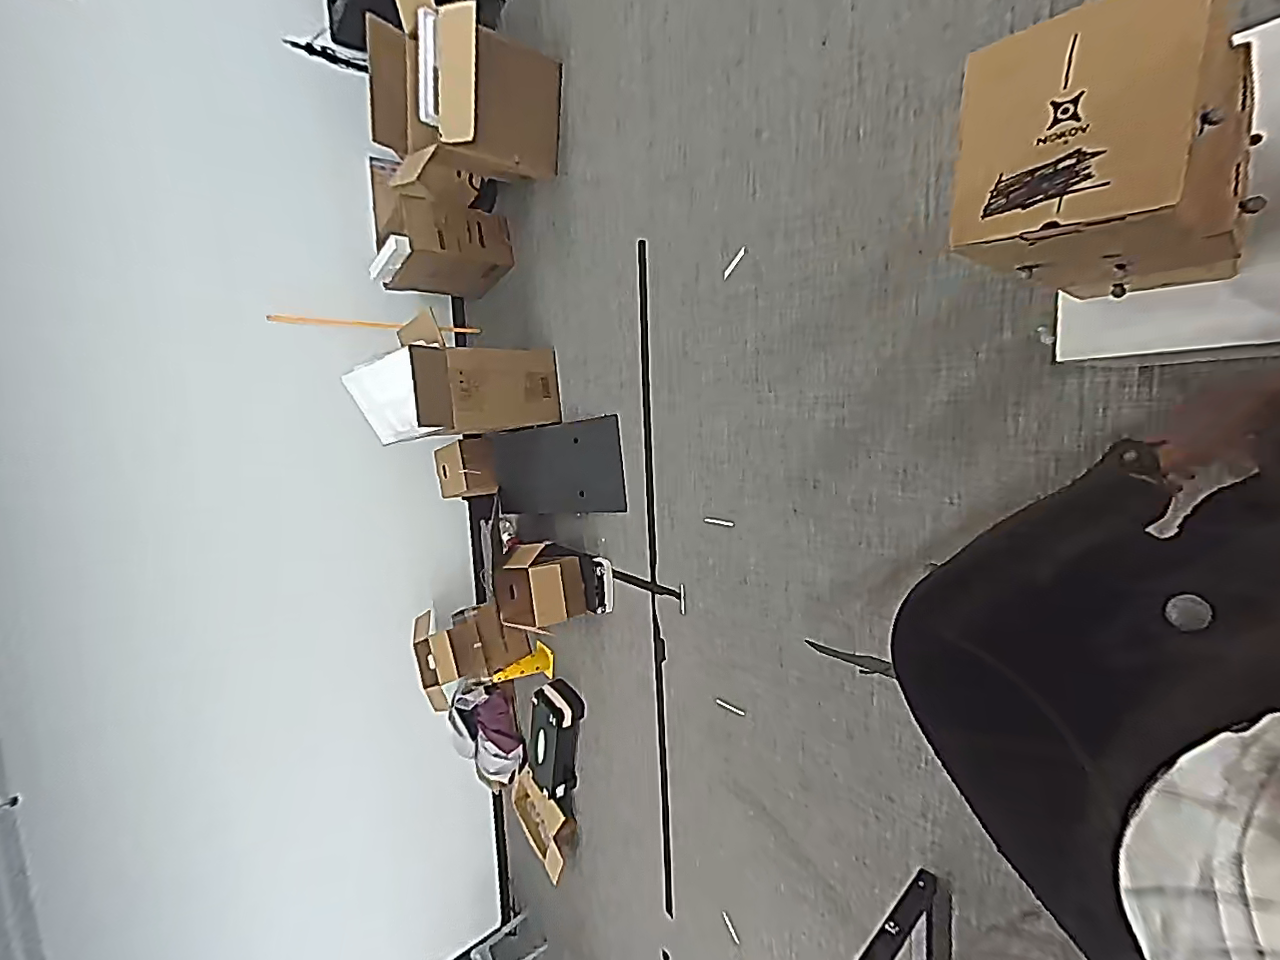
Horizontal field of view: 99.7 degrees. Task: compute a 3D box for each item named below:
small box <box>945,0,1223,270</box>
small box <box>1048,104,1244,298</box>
[{"bbox_3d":[0.414,-0.305,0.509,0.168,0.176,0.179,11,104,48],"label":"small box"},{"bbox_3d":[0.667,-0.346,0.716,0.168,0.176,0.179,6,101,48],"label":"small box"}]
